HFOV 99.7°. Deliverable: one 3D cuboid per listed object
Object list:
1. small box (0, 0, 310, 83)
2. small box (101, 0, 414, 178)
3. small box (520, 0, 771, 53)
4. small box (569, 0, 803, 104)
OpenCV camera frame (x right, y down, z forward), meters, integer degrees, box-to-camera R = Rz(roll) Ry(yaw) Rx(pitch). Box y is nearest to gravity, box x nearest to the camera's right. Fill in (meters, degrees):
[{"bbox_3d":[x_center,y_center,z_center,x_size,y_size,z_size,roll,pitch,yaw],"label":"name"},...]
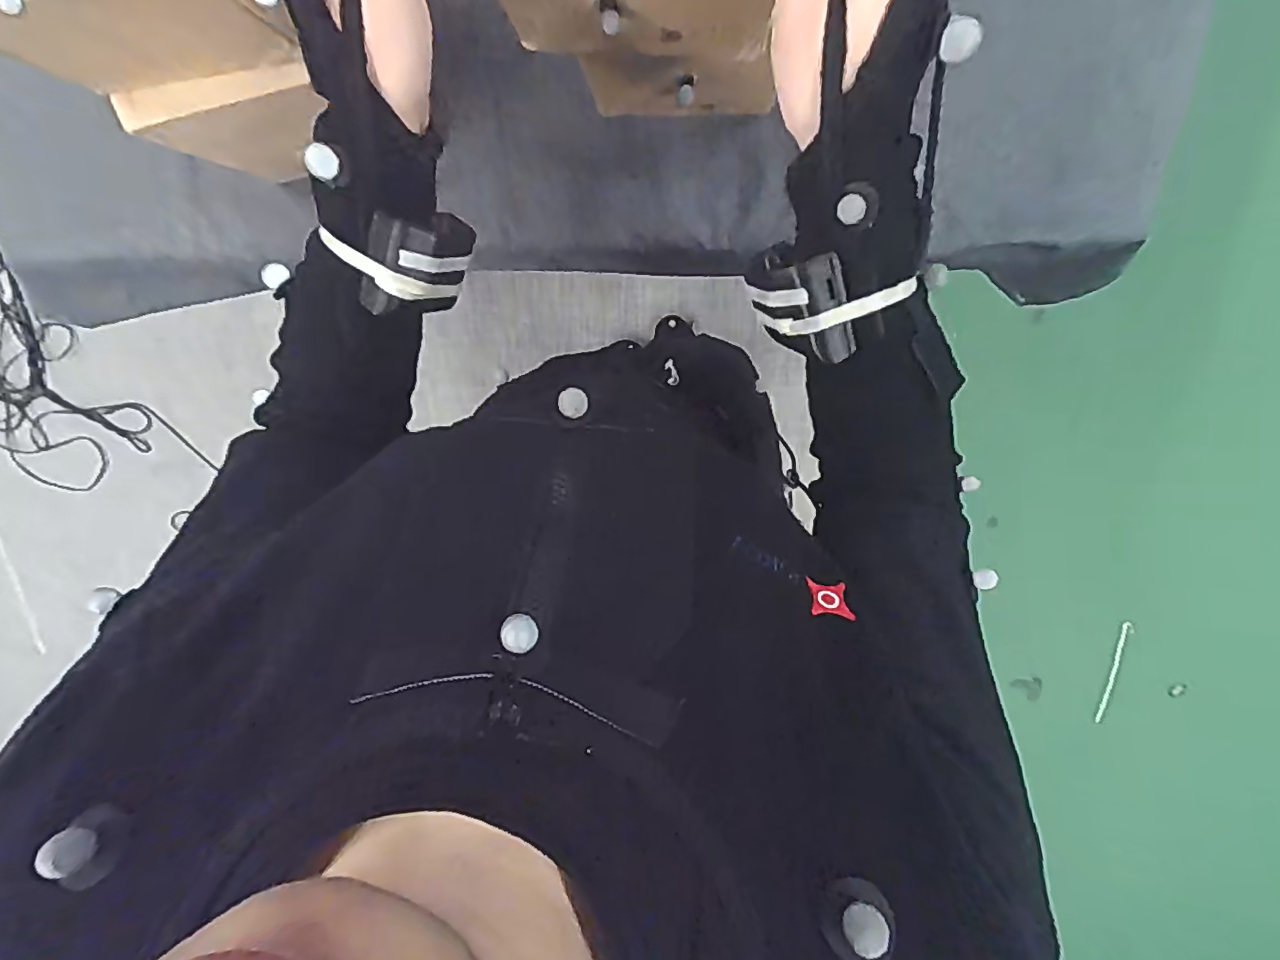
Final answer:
[{"bbox_3d":[-0.328,-0.347,0.292,0.179,0.176,0.168,-4,107,5],"label":"small box"},{"bbox_3d":[-0.321,-0.382,0.452,0.168,0.176,0.179,-9,107,7],"label":"small box"},{"bbox_3d":[0.000,-0.357,0.269,0.168,0.176,0.179,4,108,3],"label":"small box"},{"bbox_3d":[0.035,-0.415,0.419,0.168,0.176,0.179,1,107,4],"label":"small box"}]
